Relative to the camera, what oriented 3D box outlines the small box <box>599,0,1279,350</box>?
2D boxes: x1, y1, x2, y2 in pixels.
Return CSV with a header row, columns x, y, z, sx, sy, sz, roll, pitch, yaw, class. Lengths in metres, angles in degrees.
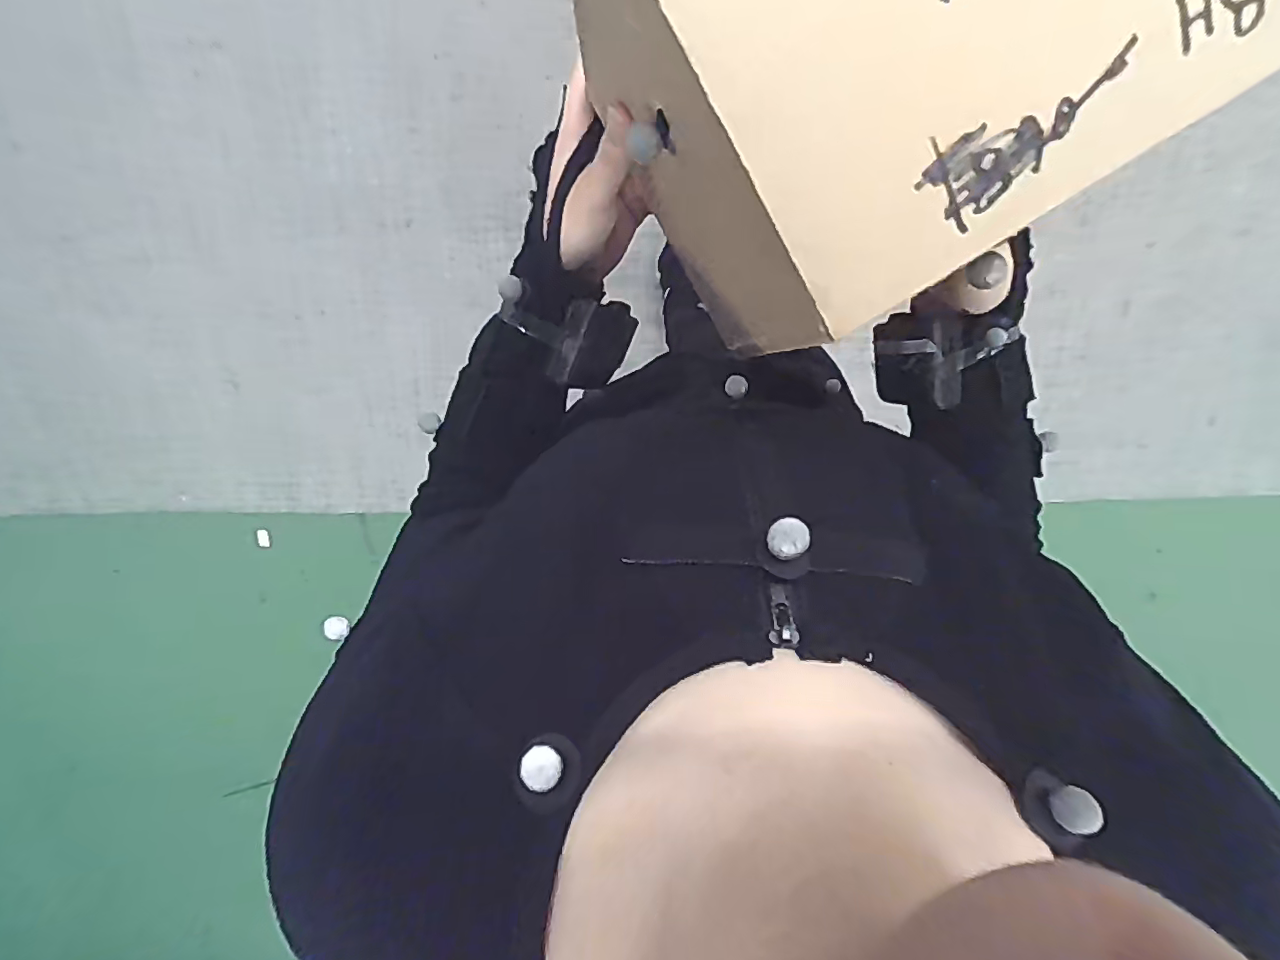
x,y,z,sx,sy,sz,roll,pitch,yaw,class
0.090,-0.175,0.239,0.168,0.176,0.179,-32,98,6,small box
